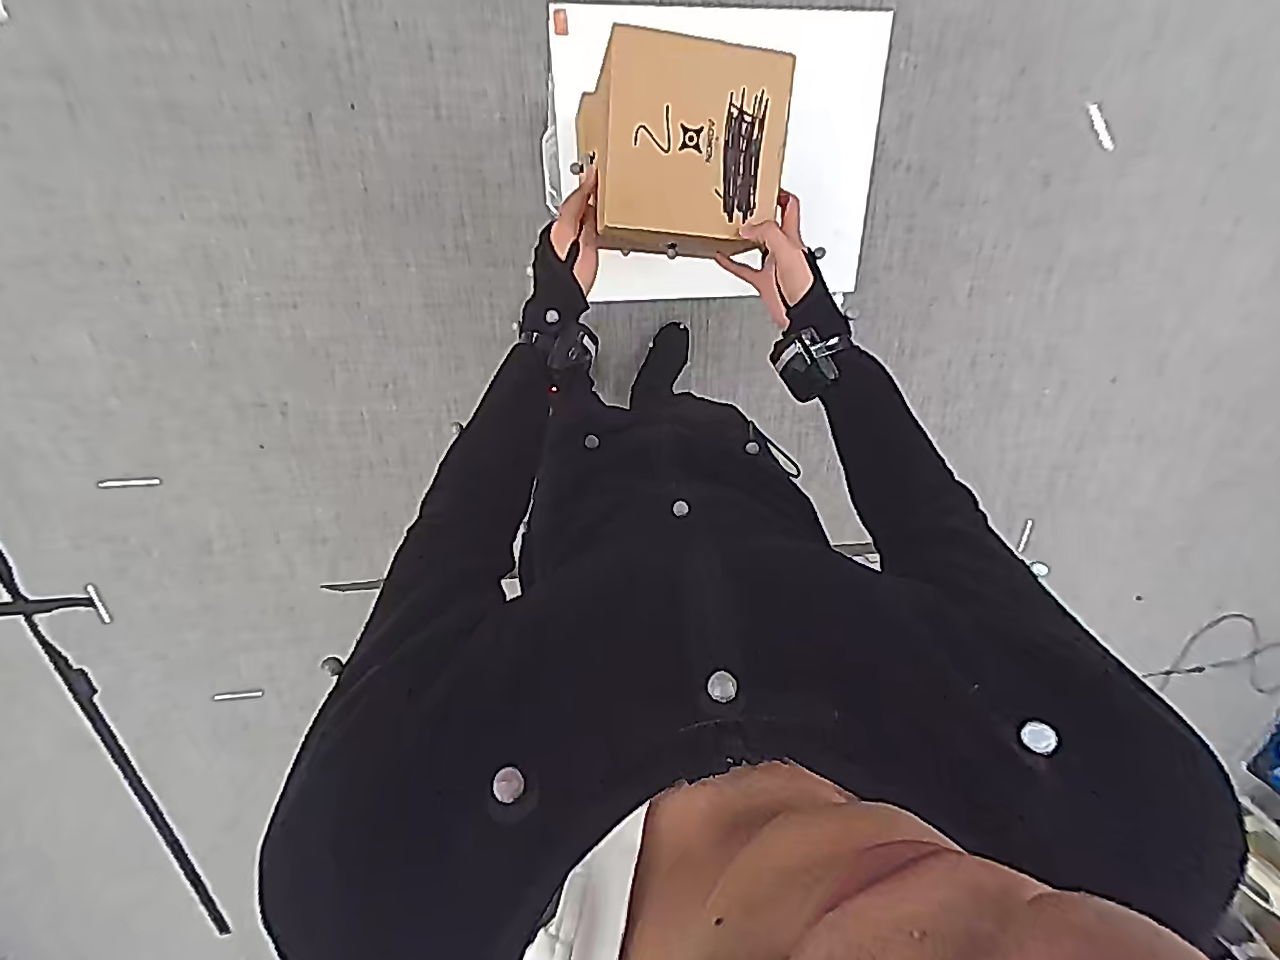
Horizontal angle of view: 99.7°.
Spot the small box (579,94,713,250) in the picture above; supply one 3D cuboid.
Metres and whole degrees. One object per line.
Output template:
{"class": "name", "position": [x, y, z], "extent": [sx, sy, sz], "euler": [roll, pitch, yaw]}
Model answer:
{"class": "small box", "position": [0.000, -0.428, 0.773], "extent": [0.168, 0.176, 0.179], "euler": [-4, 115, -7]}
